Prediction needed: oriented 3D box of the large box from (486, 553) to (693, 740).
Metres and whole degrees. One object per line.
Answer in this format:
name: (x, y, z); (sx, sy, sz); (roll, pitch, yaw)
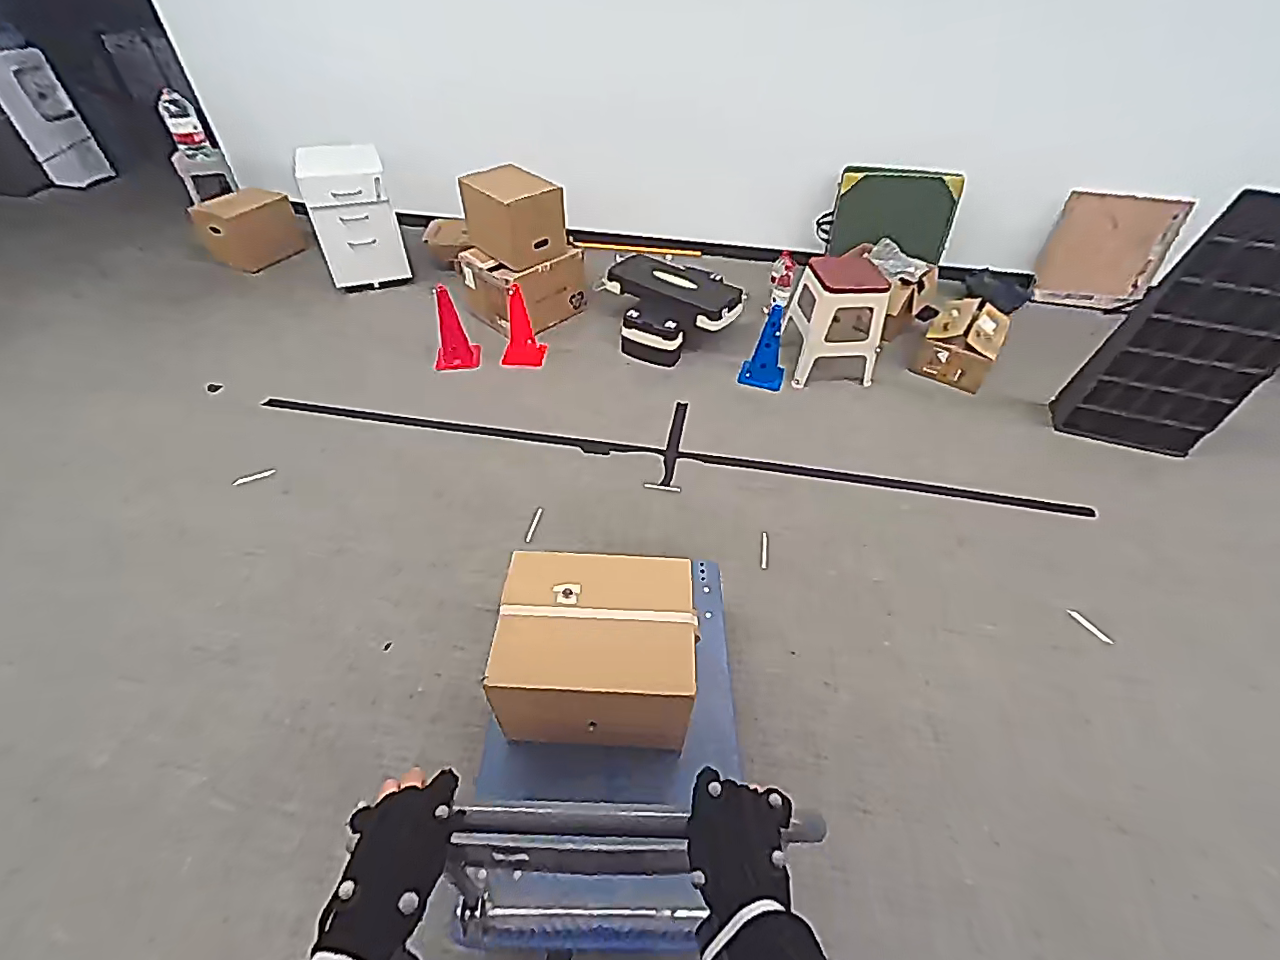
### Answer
large box: (-0.093, 0.386, 1.240); (0.408, 0.320, 0.320); (3, 47, 1)
